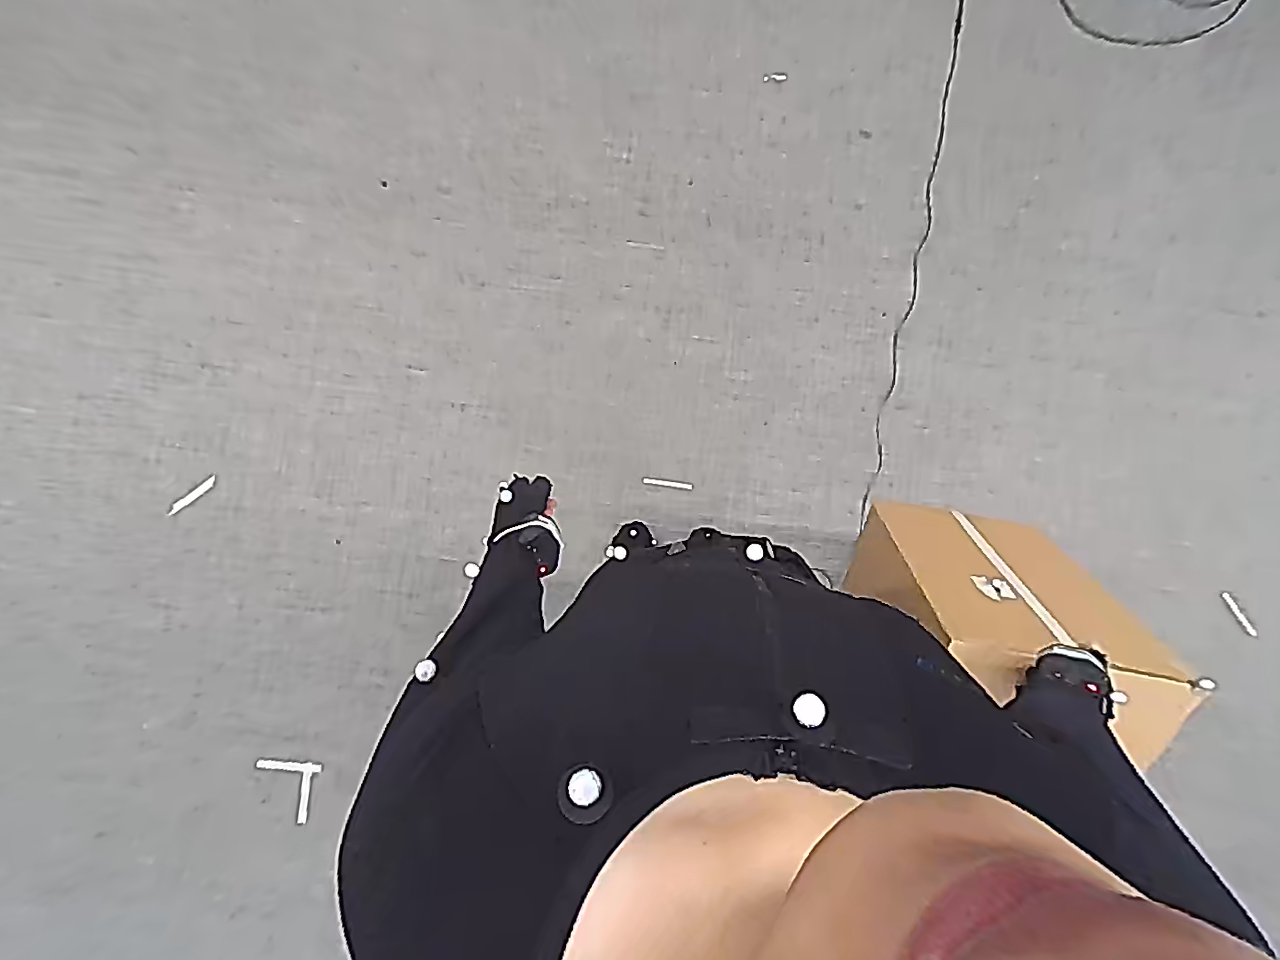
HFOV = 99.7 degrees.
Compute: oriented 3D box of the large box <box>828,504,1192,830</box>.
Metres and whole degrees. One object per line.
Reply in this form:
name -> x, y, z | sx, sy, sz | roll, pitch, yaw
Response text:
large box -> 0.555, 0.290, 0.935 | 0.320, 0.408, 0.320 | 9, 116, 4
